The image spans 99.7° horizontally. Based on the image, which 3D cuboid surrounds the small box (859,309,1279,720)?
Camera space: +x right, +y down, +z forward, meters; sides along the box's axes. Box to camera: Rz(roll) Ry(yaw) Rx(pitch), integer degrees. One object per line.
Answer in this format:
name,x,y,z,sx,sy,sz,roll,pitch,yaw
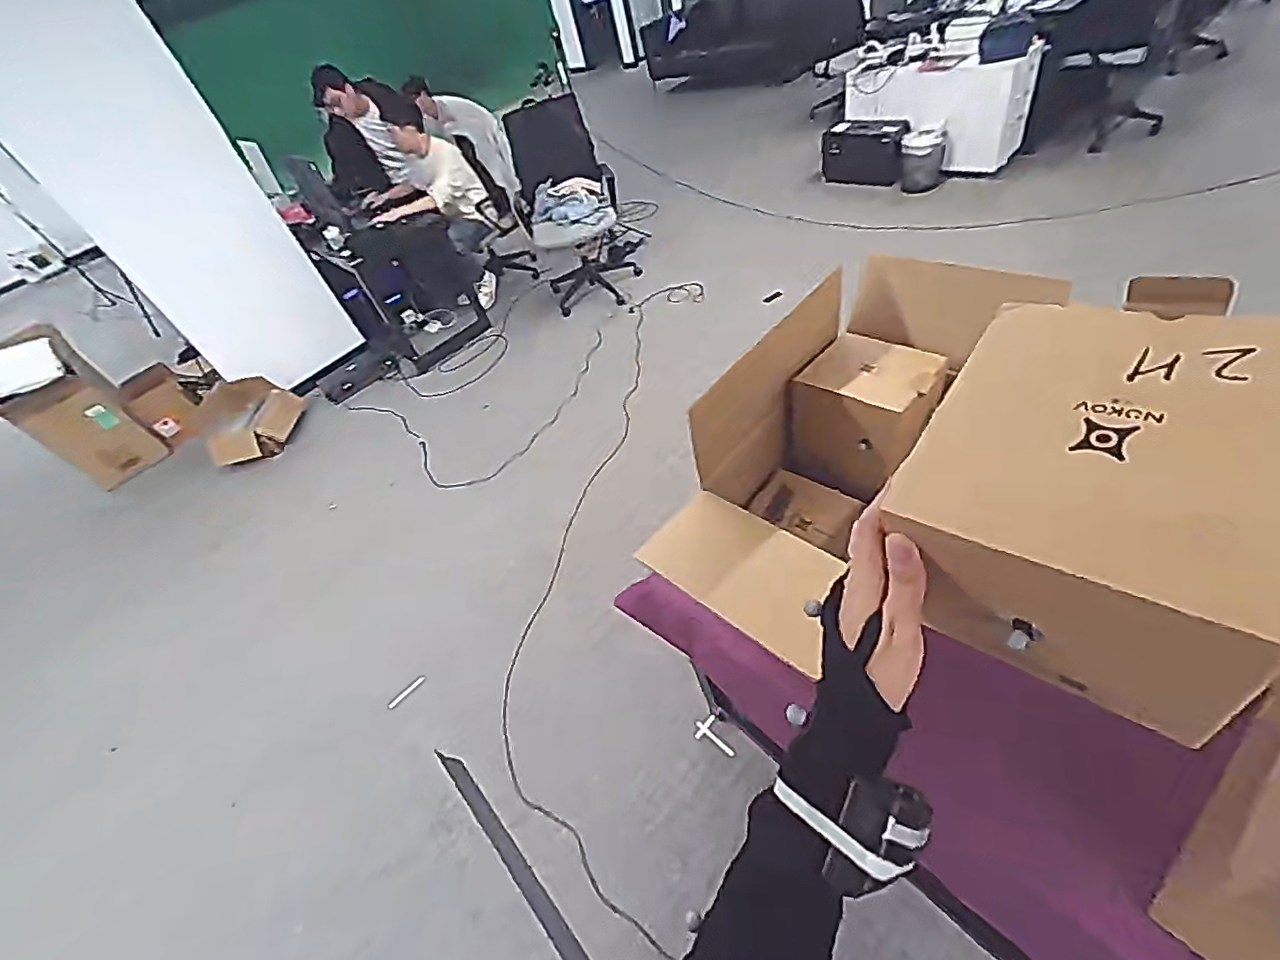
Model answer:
small box,0.272,0.019,0.345,0.168,0.176,0.179,23,69,43
